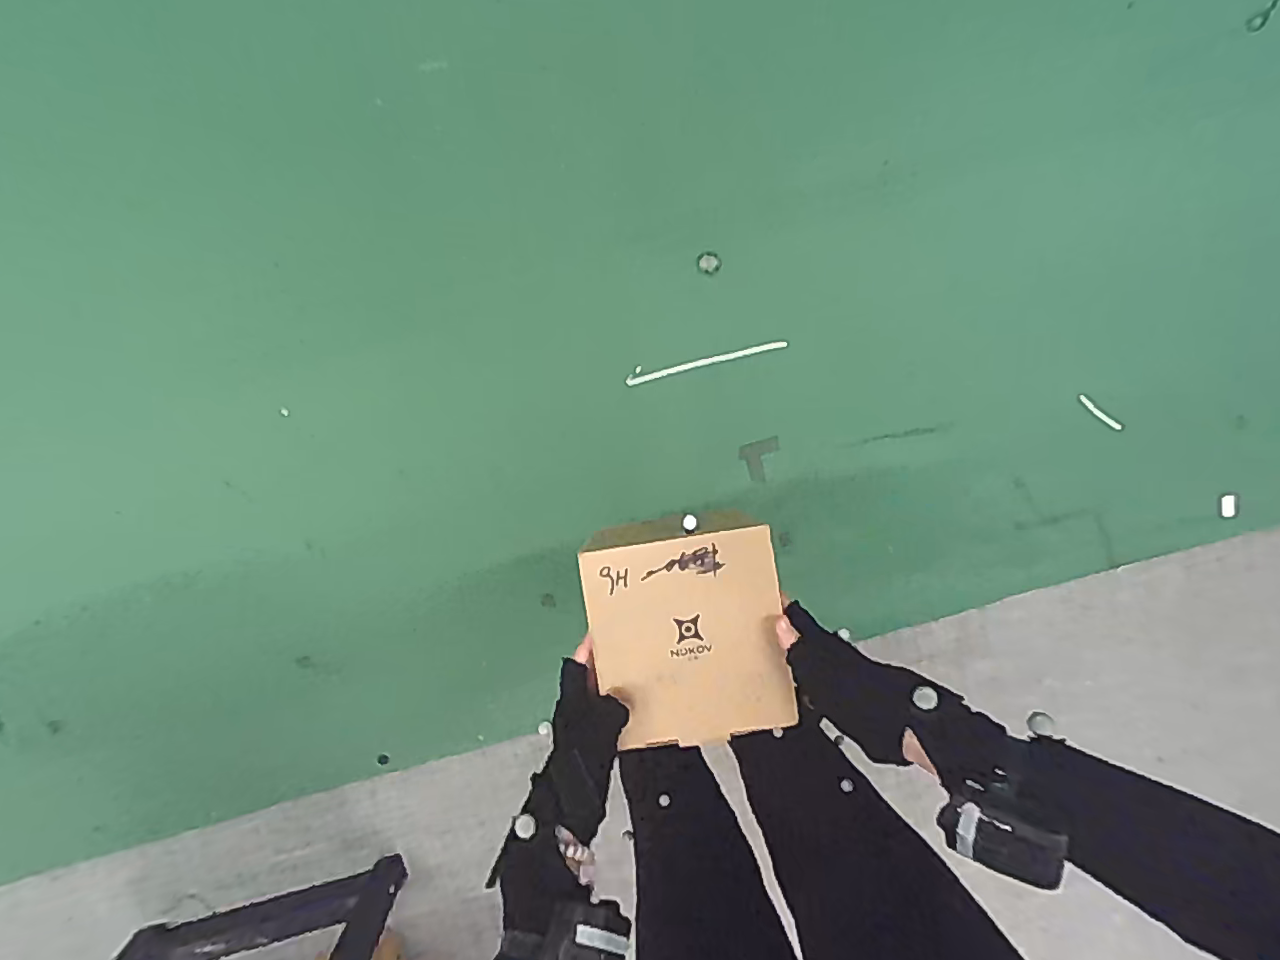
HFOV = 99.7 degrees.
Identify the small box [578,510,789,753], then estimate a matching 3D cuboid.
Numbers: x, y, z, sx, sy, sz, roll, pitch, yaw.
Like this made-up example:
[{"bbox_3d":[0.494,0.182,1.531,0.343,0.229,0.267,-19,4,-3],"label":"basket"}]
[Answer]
[{"bbox_3d":[0.039,0.135,0.538,0.168,0.176,0.179,-8,94,0],"label":"small box"}]
